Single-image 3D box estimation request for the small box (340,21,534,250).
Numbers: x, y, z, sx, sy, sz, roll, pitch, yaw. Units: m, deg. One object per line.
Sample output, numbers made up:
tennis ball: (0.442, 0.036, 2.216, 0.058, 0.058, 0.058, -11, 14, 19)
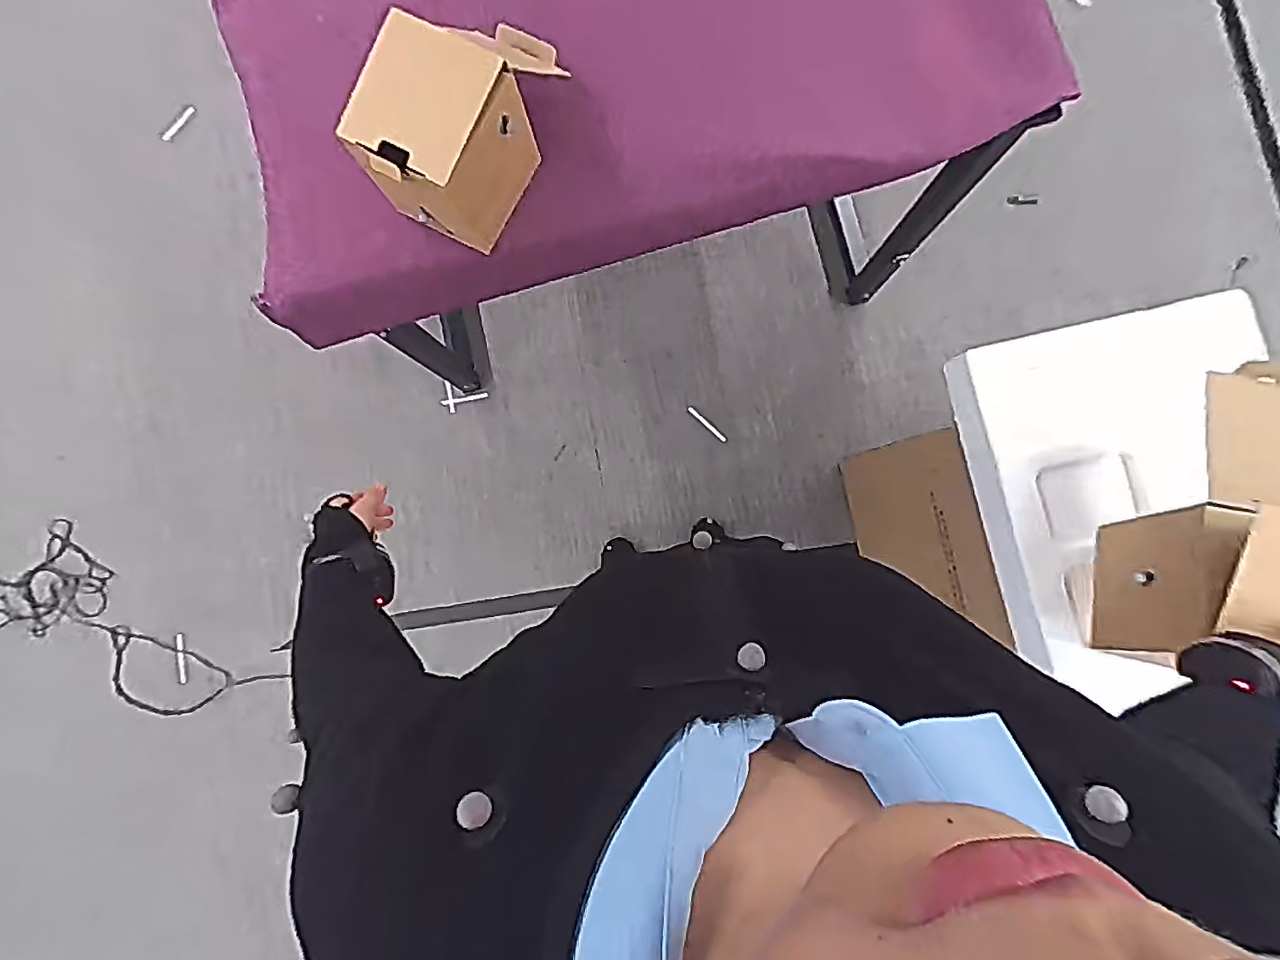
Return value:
small box: (-0.265, -0.467, 0.759, 0.168, 0.176, 0.179, 28, 86, 6)
